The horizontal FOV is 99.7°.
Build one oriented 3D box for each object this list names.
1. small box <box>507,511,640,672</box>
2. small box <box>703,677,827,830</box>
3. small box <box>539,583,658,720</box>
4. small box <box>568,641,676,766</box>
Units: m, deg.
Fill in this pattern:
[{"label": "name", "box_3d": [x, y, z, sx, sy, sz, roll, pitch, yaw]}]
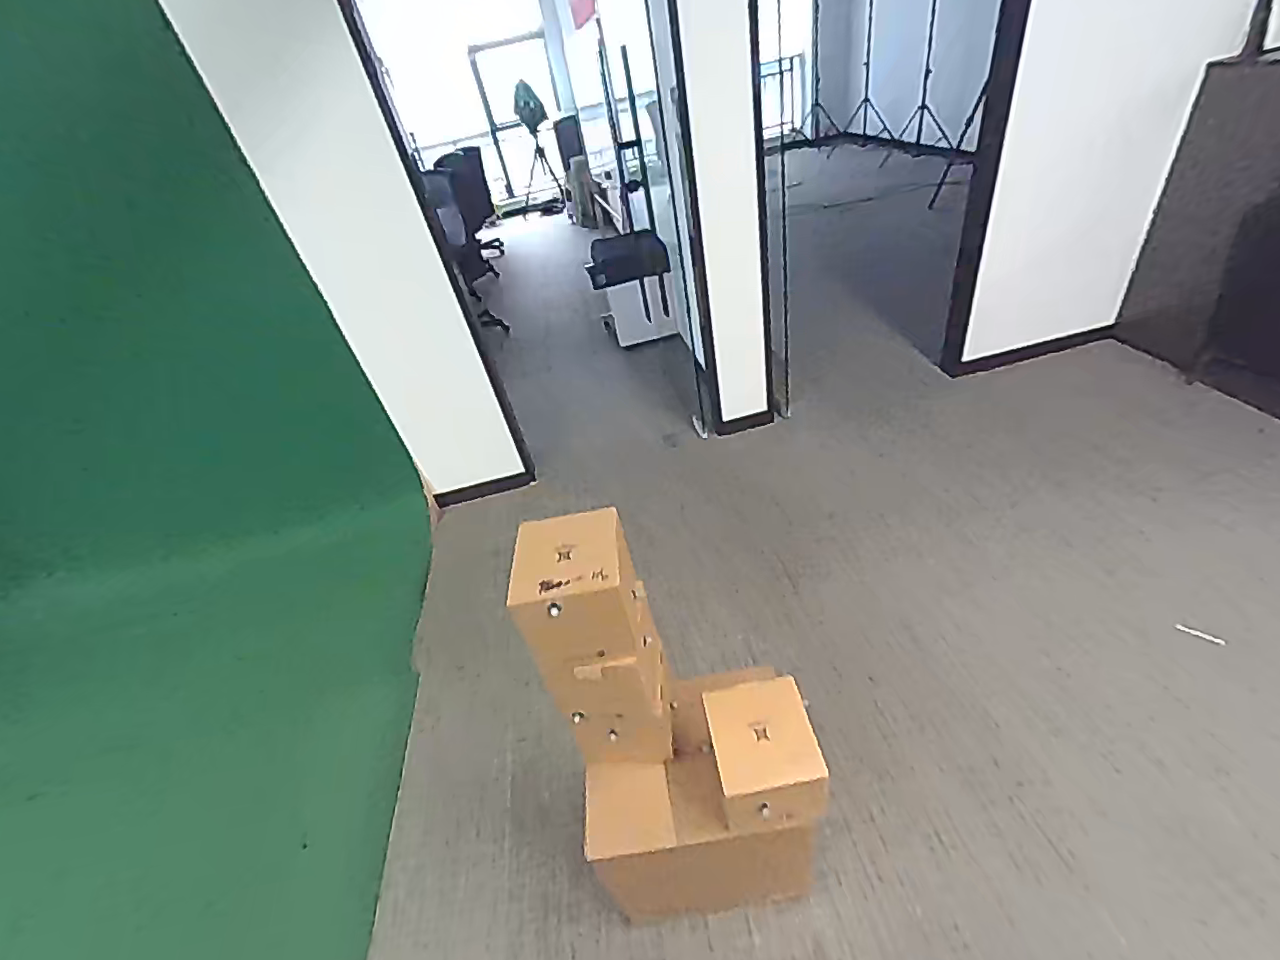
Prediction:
[{"label": "small box", "box_3d": [-0.098, 0.179, 0.873, 0.168, 0.176, 0.179, -11, 36, 4]}, {"label": "small box", "box_3d": [0.214, 0.478, 0.937, 0.168, 0.176, 0.179, -12, 37, 1]}, {"label": "small box", "box_3d": [-0.063, 0.311, 0.966, 0.168, 0.176, 0.179, -7, 36, 9]}, {"label": "small box", "box_3d": [-0.028, 0.441, 1.062, 0.179, 0.176, 0.168, -7, 38, 7]}]
